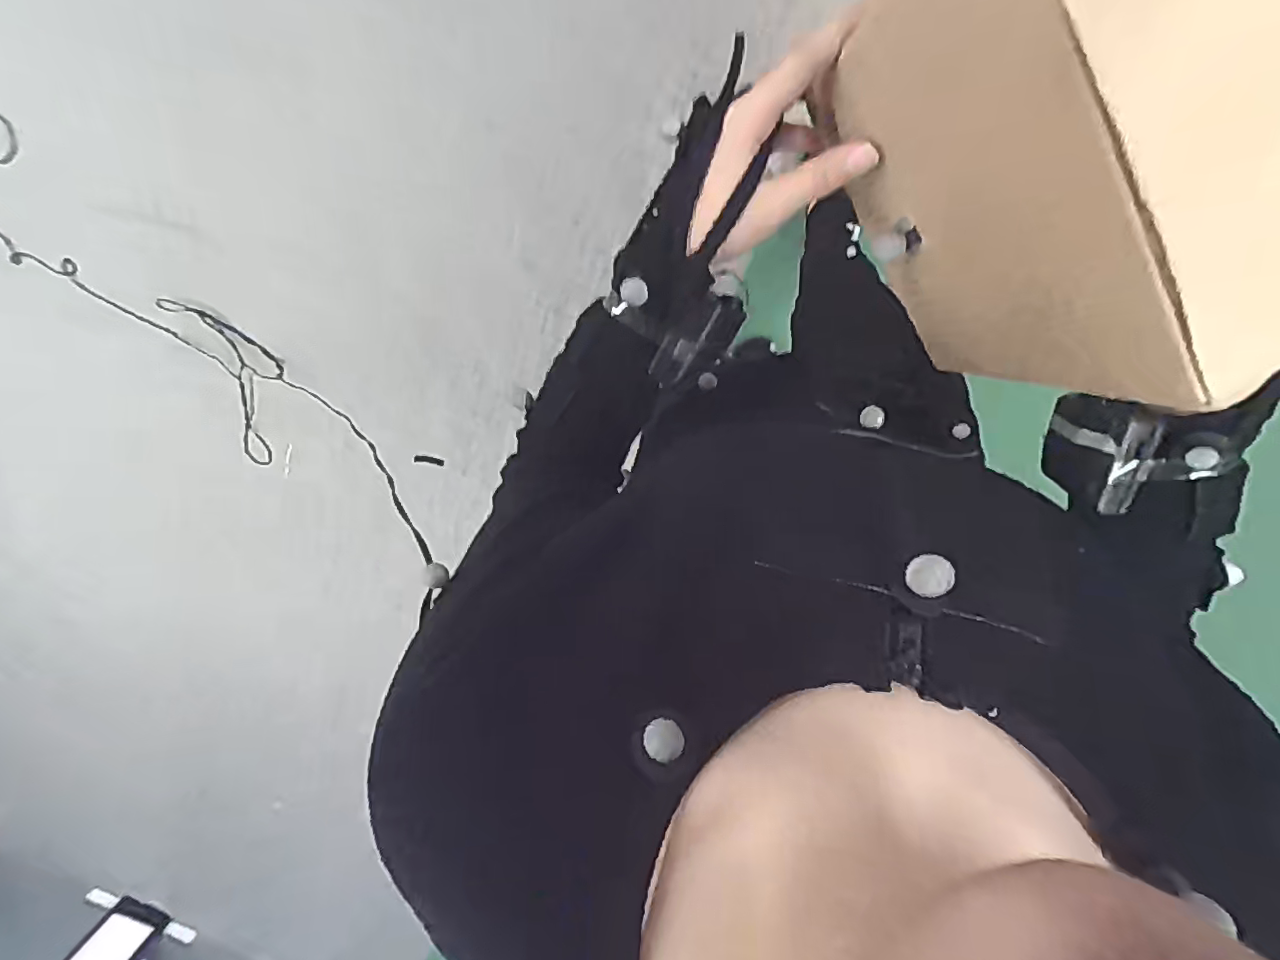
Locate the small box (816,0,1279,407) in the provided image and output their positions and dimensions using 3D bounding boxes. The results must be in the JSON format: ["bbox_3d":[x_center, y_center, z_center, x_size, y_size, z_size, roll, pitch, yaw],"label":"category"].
[{"bbox_3d":[0.206,-0.158,0.230,0.168,0.176,0.179,-33,105,9],"label":"small box"}]
